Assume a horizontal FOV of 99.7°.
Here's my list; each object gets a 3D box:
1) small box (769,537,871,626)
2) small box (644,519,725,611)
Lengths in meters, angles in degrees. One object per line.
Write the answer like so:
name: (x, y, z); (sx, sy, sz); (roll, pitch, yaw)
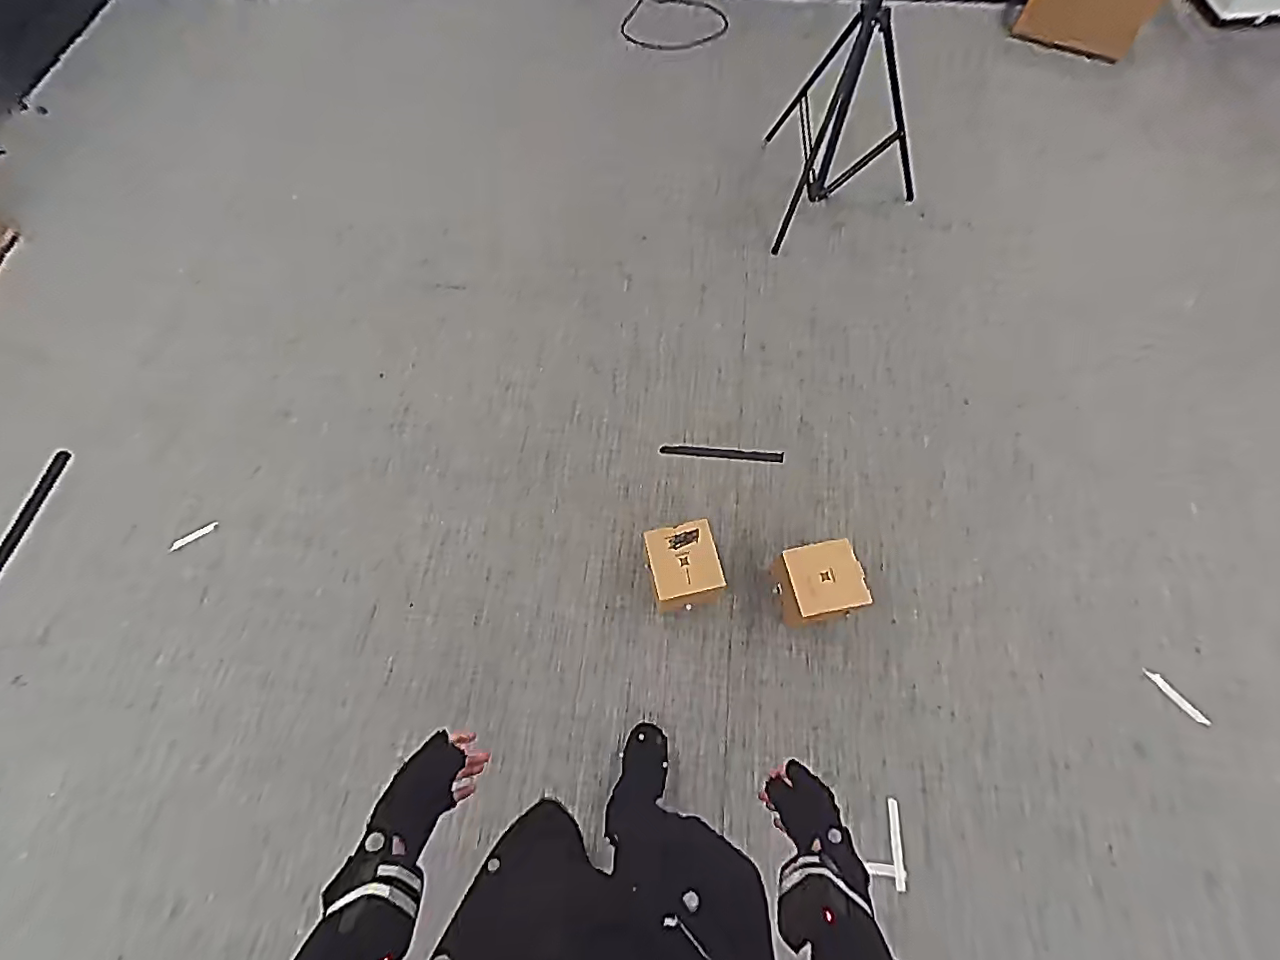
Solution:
small box: (0.444, 0.260, 1.360); (0.179, 0.176, 0.168); (-12, 66, -3)
small box: (0.106, 0.222, 1.384); (0.168, 0.176, 0.179); (-12, 67, -4)
